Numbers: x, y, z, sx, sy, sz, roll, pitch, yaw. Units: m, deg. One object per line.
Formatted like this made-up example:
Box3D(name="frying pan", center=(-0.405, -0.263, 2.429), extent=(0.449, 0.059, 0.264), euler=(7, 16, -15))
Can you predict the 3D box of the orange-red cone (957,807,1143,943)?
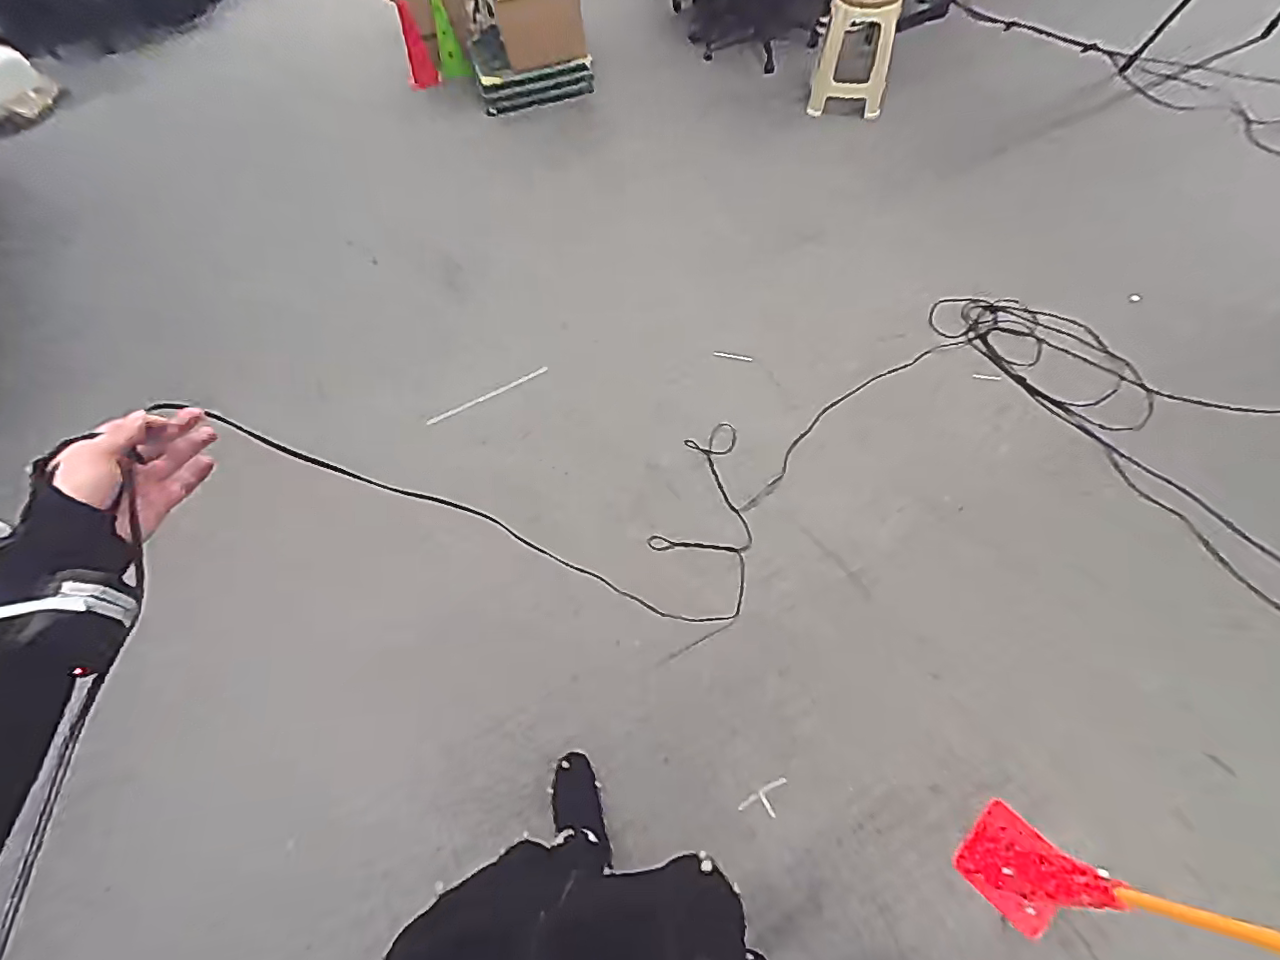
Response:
Box3D(name="orange-red cone", center=(0.840, 0.800, 1.071), extent=(0.199, 0.360, 0.198), euler=(-40, 67, -18))
